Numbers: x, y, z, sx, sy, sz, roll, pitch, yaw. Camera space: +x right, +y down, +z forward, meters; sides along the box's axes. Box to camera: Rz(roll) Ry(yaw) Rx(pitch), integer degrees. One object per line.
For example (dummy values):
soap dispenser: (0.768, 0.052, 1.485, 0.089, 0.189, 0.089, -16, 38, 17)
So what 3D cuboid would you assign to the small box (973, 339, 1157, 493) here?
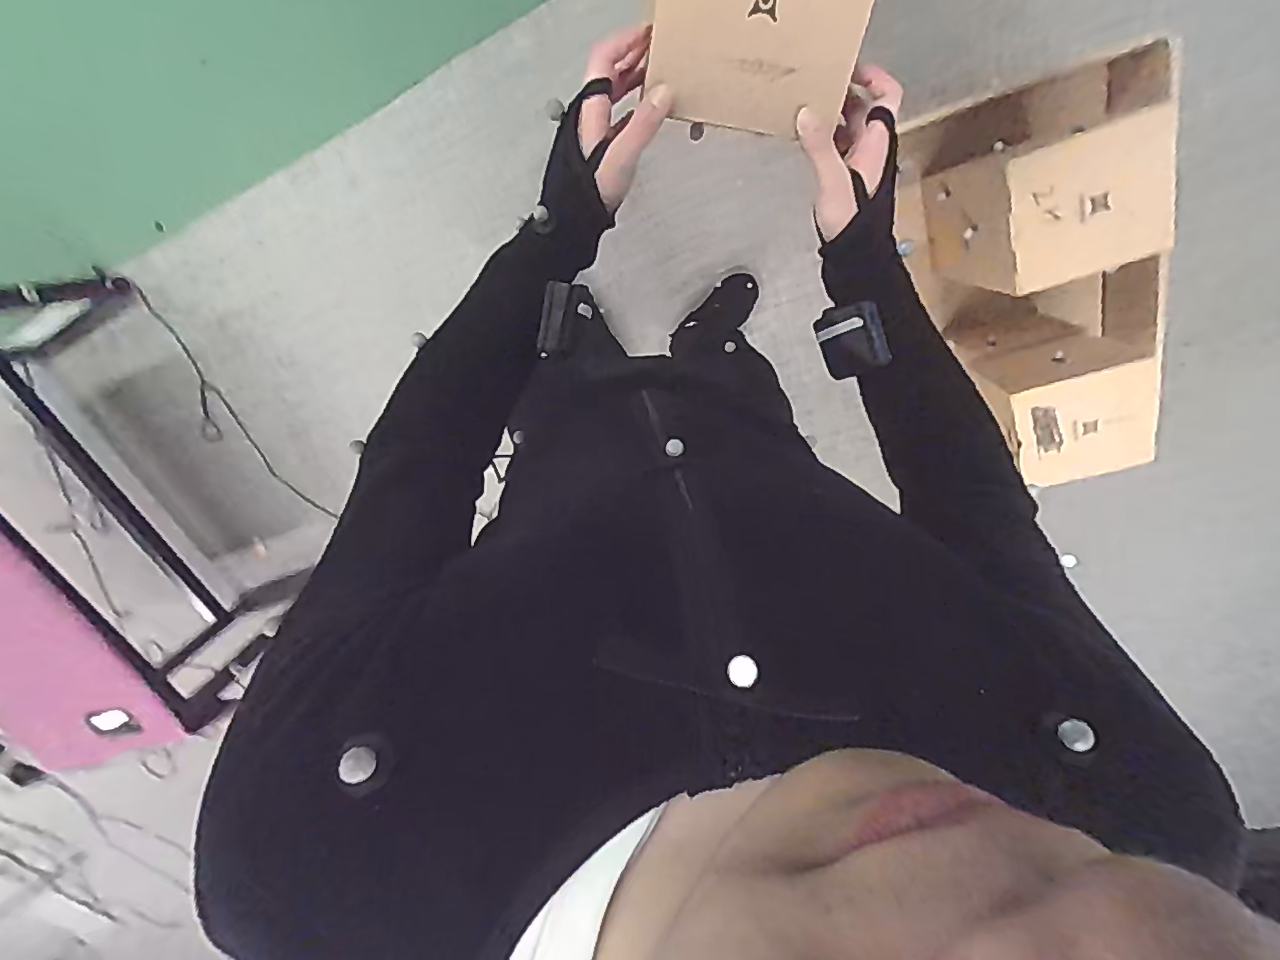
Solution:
small box: (0.645, -0.104, 0.842, 0.179, 0.176, 0.168, -15, 113, 15)

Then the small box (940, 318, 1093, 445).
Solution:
small box: (0.671, -0.184, 0.984, 0.179, 0.176, 0.168, -10, 114, 14)

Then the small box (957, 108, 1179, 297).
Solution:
small box: (0.560, -0.364, 0.728, 0.179, 0.176, 0.168, -15, 112, 15)

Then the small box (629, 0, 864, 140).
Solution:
small box: (0.083, -0.410, 0.463, 0.168, 0.176, 0.179, 6, 125, -7)
